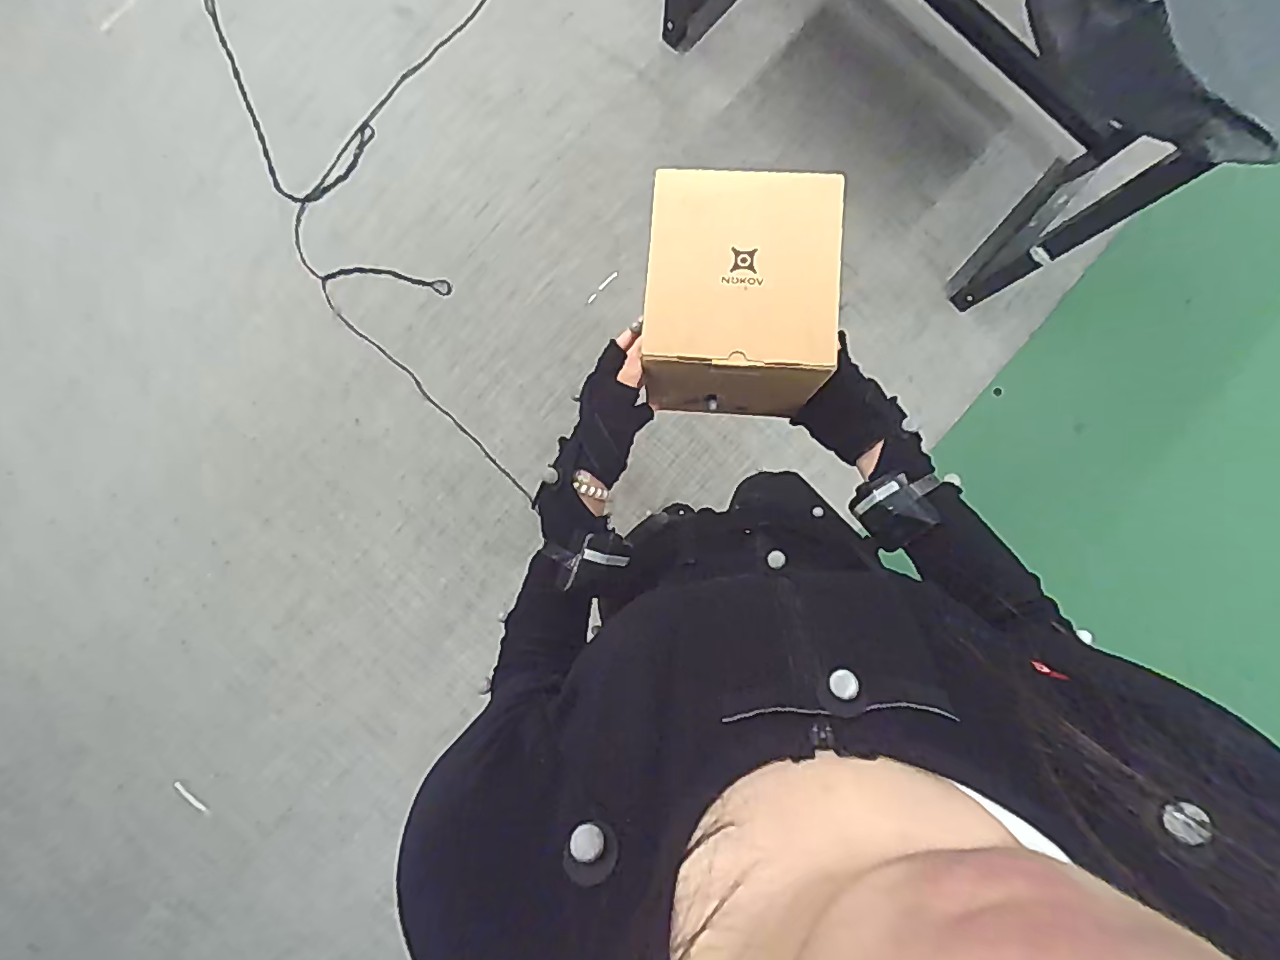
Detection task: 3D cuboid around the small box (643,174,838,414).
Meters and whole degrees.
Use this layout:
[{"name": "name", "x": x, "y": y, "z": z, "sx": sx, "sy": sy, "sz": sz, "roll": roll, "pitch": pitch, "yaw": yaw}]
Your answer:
[{"name": "small box", "x": 0.093, "y": -0.177, "z": 0.556, "sx": 0.168, "sy": 0.176, "sz": 0.179, "roll": 4, "pitch": 84, "yaw": 4}]
